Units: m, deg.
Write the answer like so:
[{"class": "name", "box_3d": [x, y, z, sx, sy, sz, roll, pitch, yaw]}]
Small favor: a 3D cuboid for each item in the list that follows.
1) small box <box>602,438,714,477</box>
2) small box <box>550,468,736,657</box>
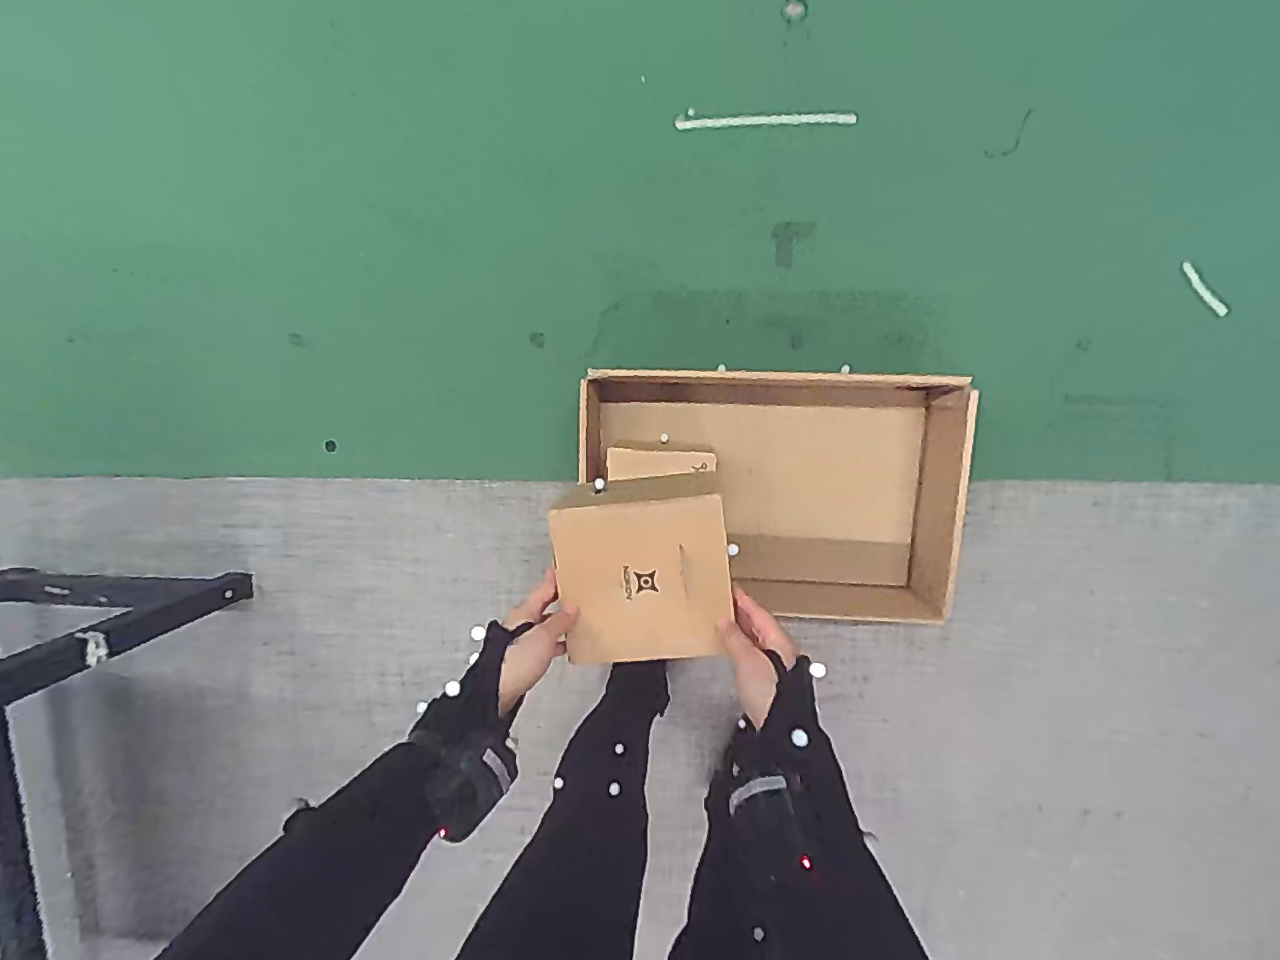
[{"class": "small box", "box_3d": [0.032, 0.017, 0.935, 0.179, 0.176, 0.168, 4, 100, 4]}, {"class": "small box", "box_3d": [0.009, 0.083, 0.618, 0.179, 0.176, 0.168, -6, 99, 5]}]
